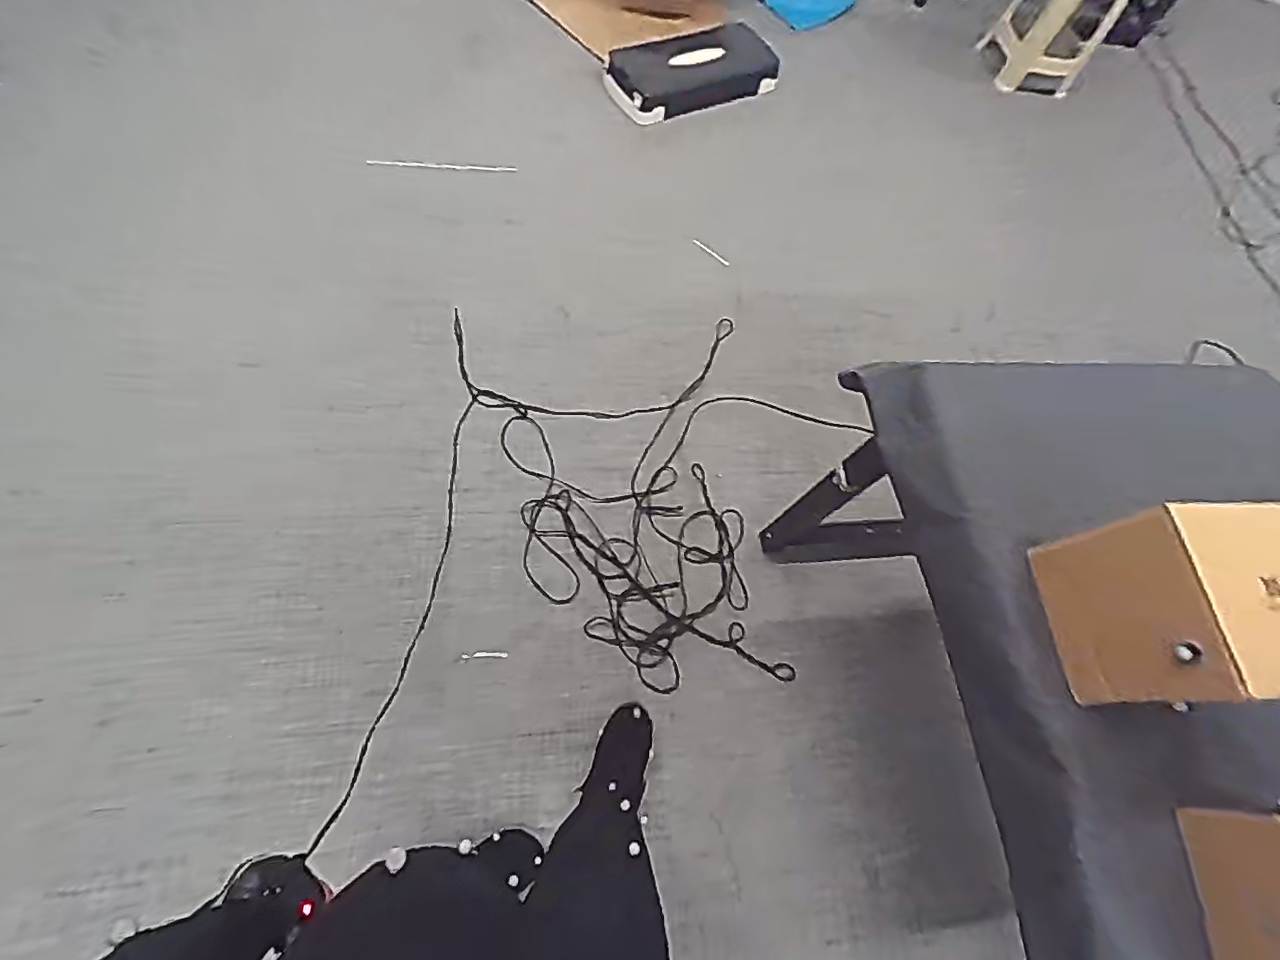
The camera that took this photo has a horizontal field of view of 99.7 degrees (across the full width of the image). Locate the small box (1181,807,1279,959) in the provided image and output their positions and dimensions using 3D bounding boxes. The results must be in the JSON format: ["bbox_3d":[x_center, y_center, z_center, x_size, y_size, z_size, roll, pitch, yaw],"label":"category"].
[{"bbox_3d":[0.640,0.399,0.462,0.168,0.176,0.179,9,65,-7],"label":"small box"}]

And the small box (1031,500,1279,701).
[{"bbox_3d":[0.561,0.131,0.564,0.168,0.176,0.179,0,67,-10],"label":"small box"}]
